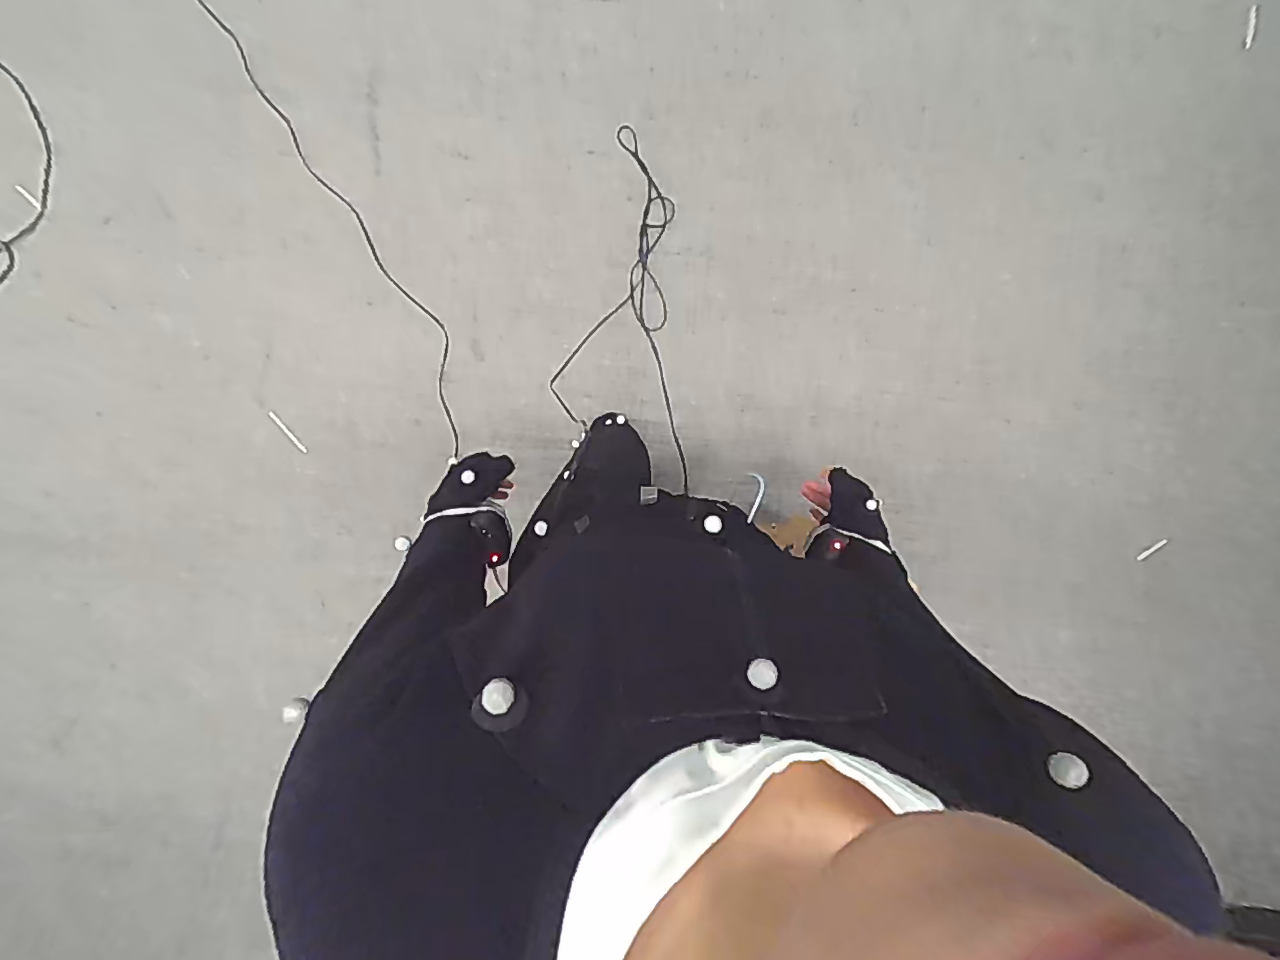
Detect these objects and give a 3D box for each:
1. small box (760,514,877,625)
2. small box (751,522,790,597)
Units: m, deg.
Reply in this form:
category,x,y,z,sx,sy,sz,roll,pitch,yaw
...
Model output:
category,x,y,z,sx,sy,sz,roll,pitch,yaw
small box,0.401,0.196,1.252,0.168,0.176,0.179,35,93,-3
small box,0.389,0.203,1.400,0.179,0.176,0.168,0,94,-2
